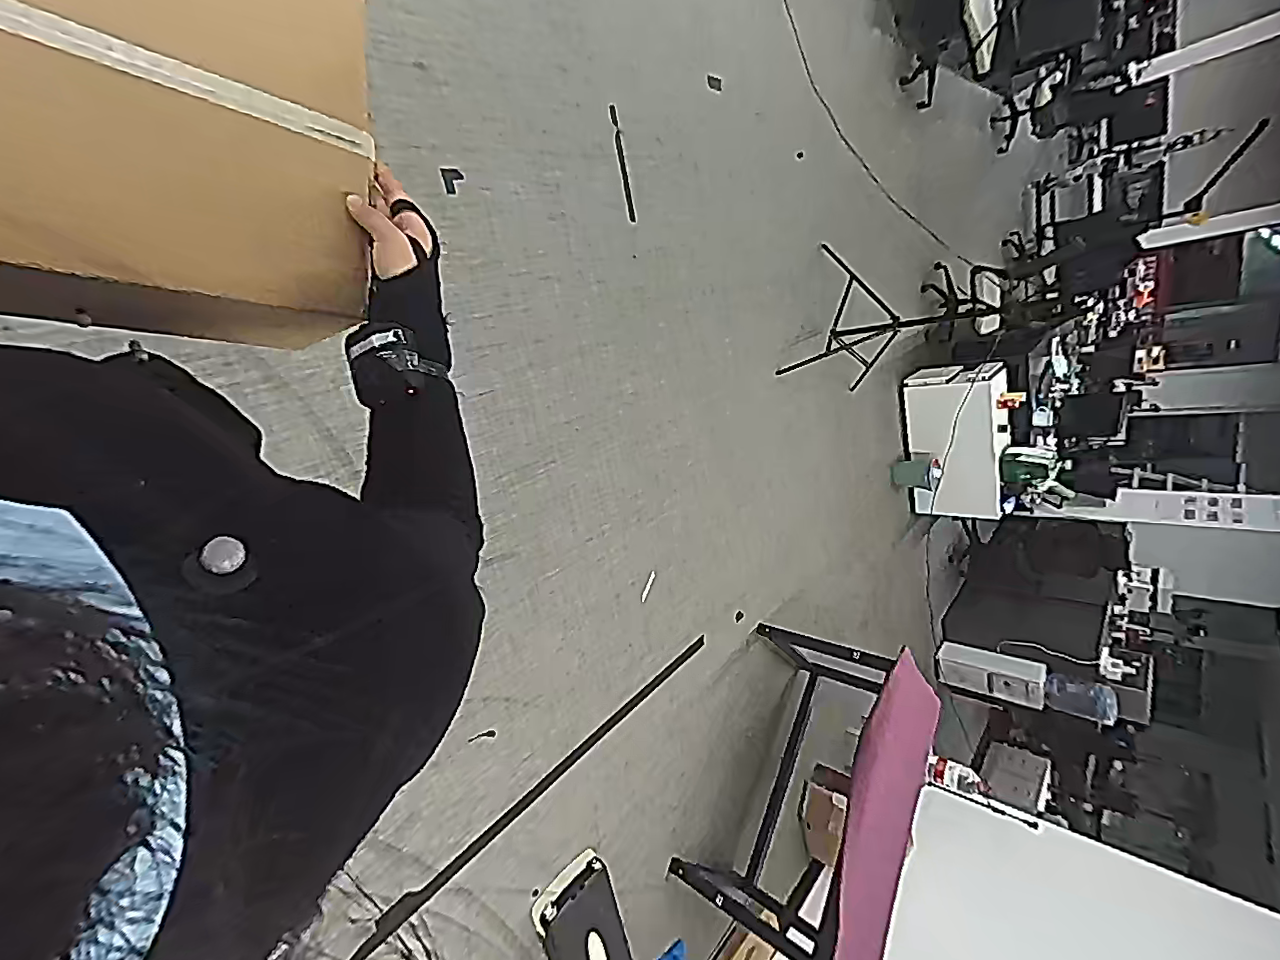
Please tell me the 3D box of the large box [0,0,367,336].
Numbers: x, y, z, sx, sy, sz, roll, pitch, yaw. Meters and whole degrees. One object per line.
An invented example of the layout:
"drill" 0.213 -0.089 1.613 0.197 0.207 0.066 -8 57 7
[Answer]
"large box" -0.509 -0.321 0.487 0.408 0.320 0.320 -4 95 -42
